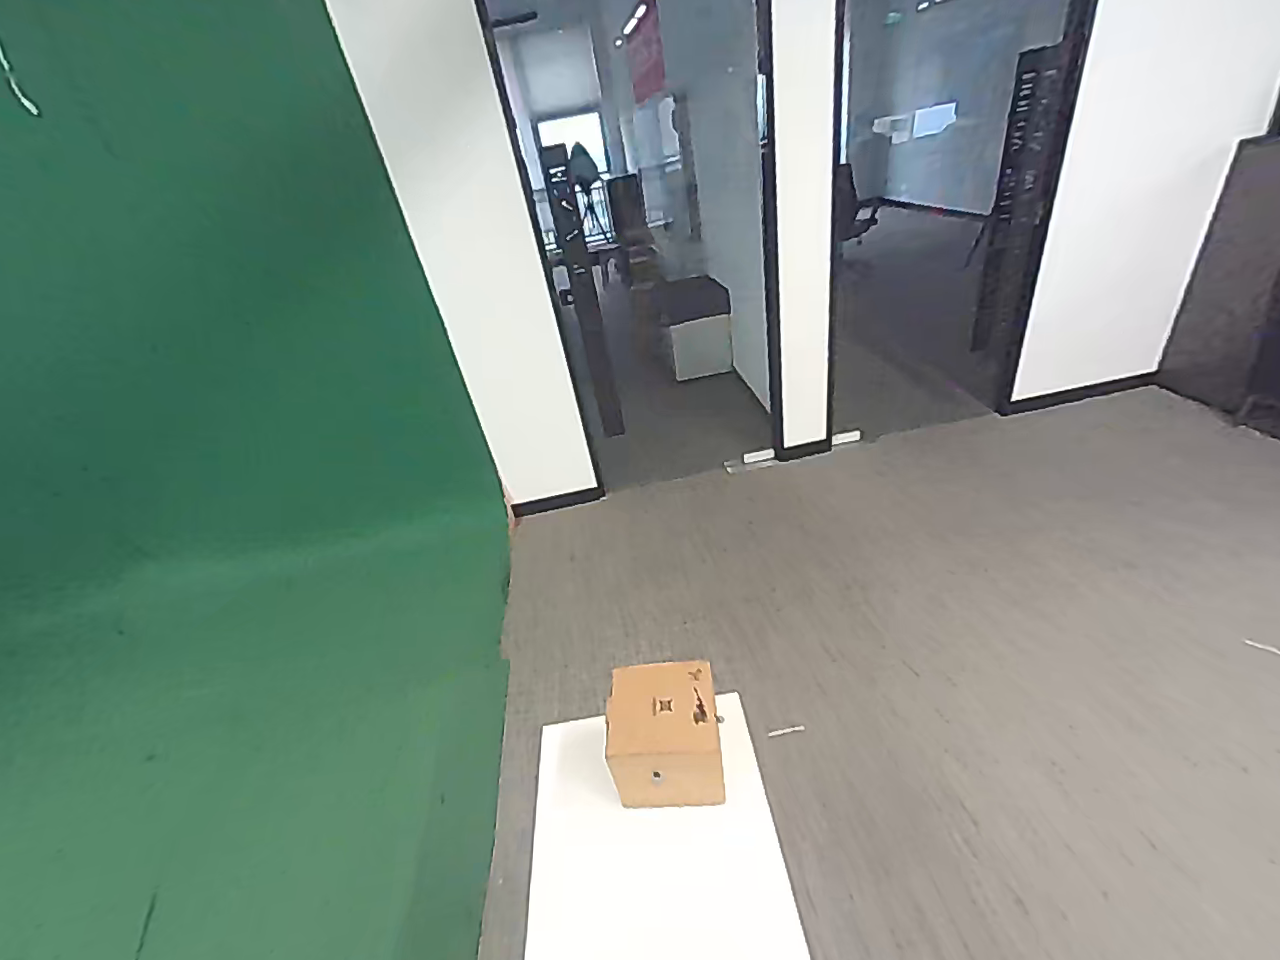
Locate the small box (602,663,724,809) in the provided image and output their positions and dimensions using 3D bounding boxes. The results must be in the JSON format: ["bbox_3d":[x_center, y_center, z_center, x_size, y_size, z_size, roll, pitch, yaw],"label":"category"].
[{"bbox_3d":[0.044,0.441,0.930,0.179,0.176,0.168,-7,33,8],"label":"small box"}]
